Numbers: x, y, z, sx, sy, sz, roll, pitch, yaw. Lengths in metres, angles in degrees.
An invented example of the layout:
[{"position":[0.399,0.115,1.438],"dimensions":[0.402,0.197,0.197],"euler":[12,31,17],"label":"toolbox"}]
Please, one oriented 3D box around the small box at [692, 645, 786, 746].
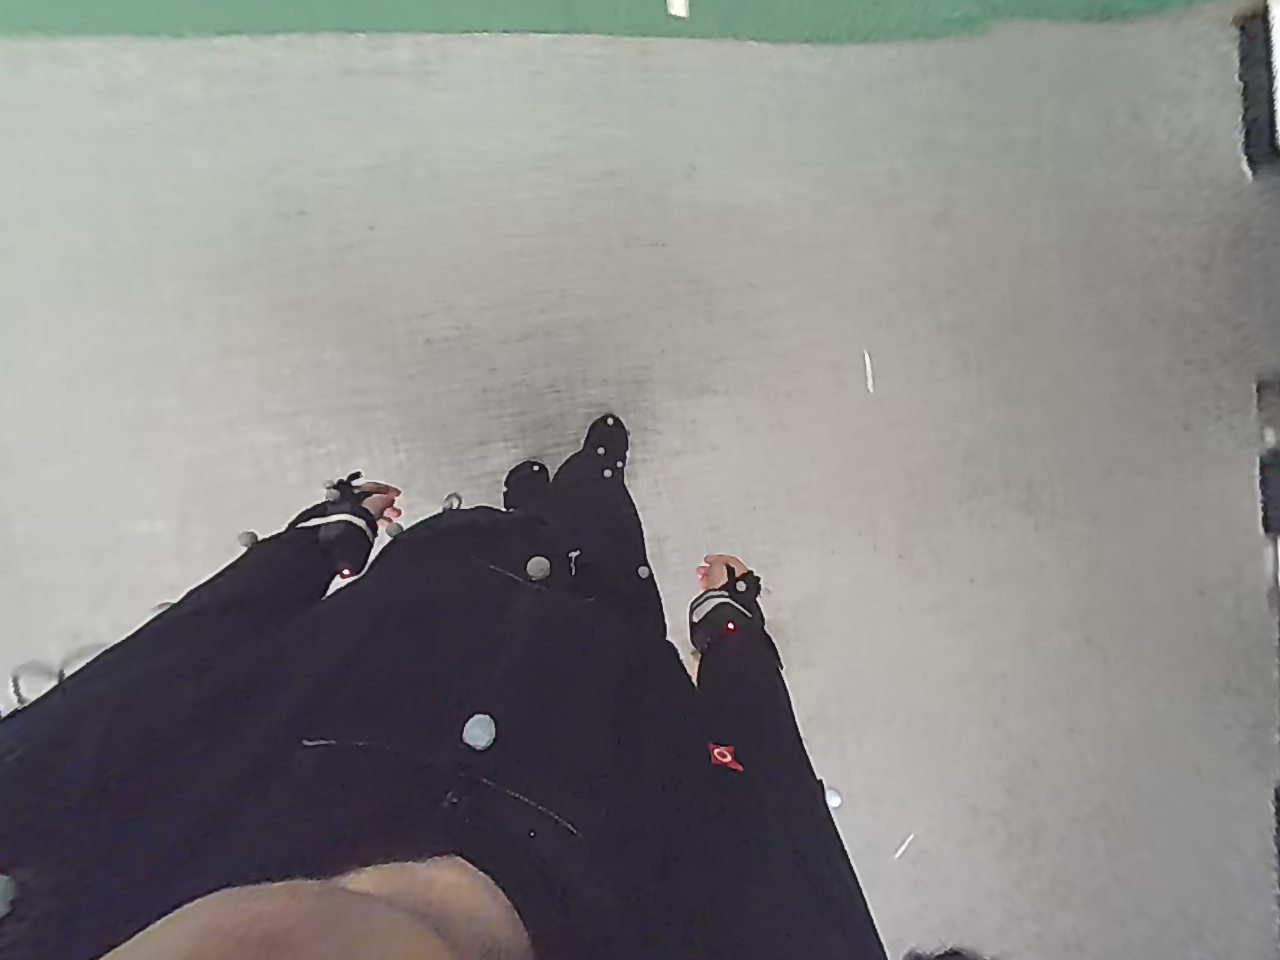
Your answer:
[{"position":[0.250,0.543,1.390],"dimensions":[0.179,0.176,0.168],"euler":[-10,96,-10],"label":"small box"}]
